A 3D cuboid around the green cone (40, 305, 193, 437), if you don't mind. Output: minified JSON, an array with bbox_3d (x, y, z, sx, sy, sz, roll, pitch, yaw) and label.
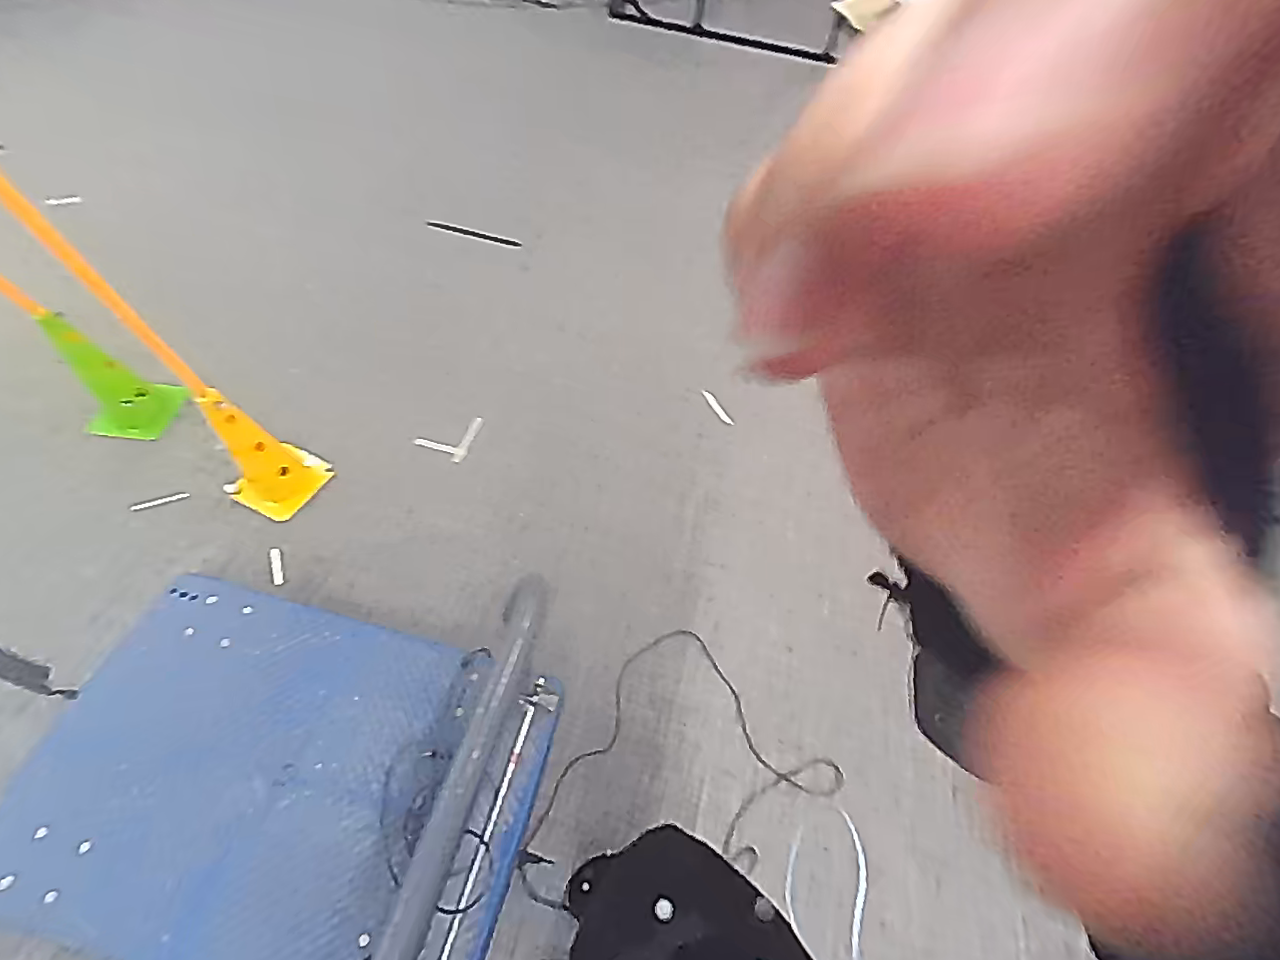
[{"bbox_3d":[-1.431,-0.304,1.433,0.202,0.368,0.200,6,57,-3],"label":"green cone"}]
